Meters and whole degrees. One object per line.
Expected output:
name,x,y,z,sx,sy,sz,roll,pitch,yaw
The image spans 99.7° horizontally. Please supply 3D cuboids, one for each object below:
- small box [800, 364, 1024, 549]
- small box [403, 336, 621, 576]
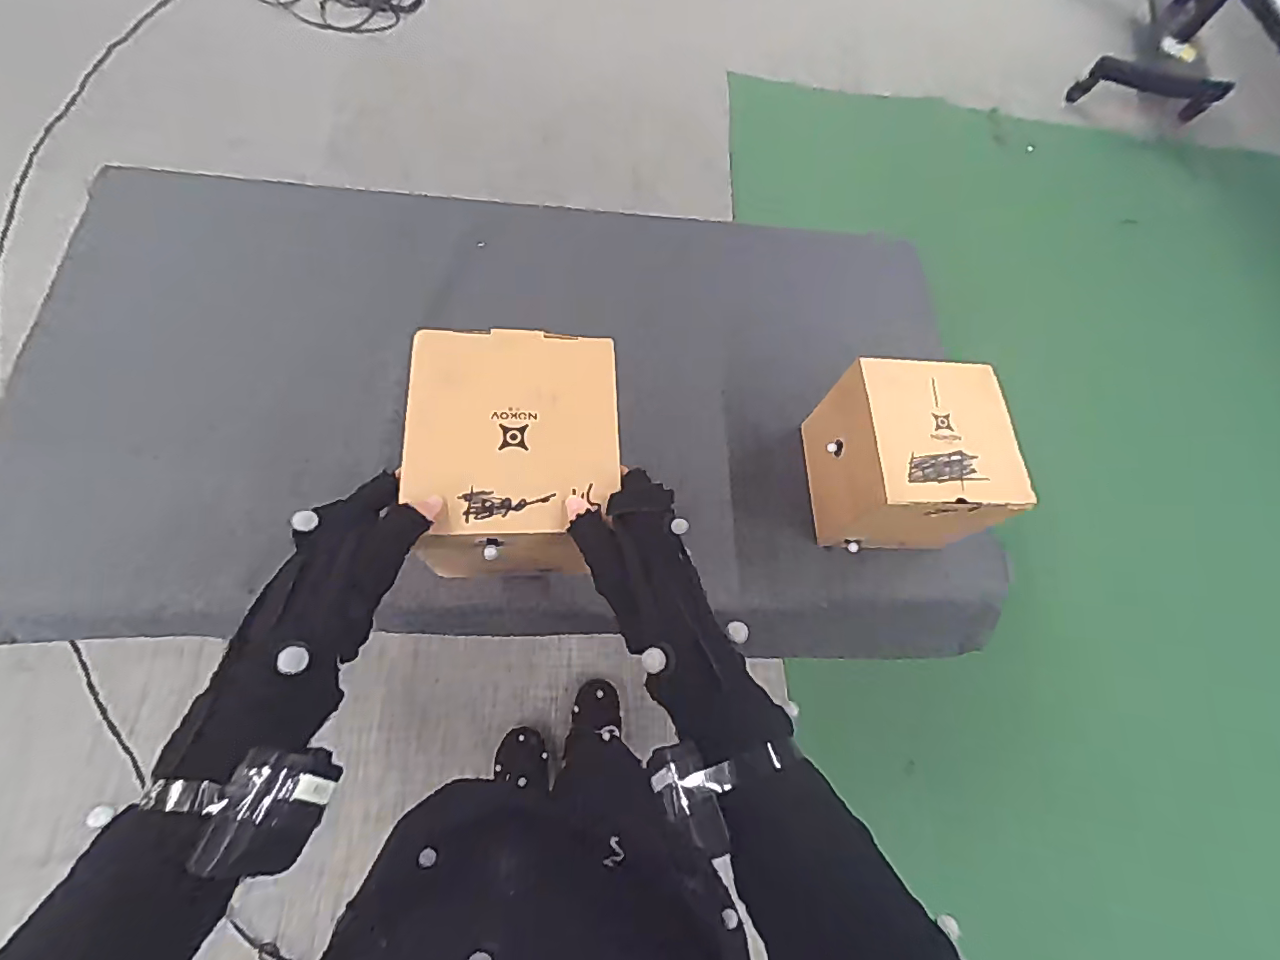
small box,0.311,-0.018,0.661,0.168,0.176,0.179,2,66,-7
small box,-0.111,-0.012,0.514,0.168,0.176,0.179,0,70,-9
